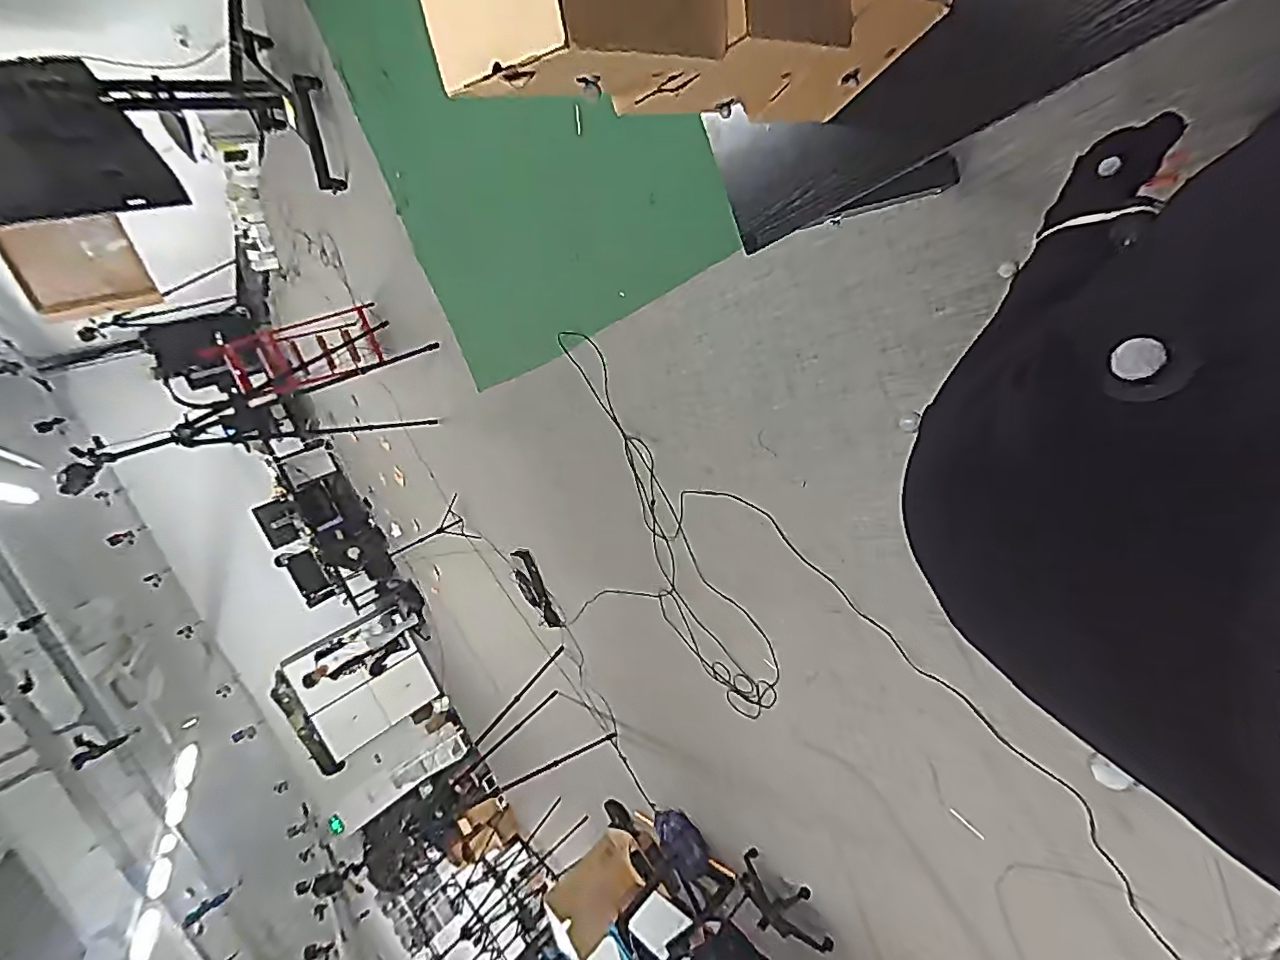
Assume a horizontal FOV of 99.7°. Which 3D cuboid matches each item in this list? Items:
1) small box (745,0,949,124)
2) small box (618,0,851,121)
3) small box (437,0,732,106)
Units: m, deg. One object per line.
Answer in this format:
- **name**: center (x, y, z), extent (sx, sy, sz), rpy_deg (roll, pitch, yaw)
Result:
- **small box**: center (0.196, -0.525, 0.588), extent (0.168, 0.176, 0.179), rpy_deg (-22, 97, 54)
- **small box**: center (0.077, -0.459, 0.496), extent (0.168, 0.176, 0.179), rpy_deg (10, 121, 47)
- **small box**: center (-0.044, -0.399, 0.402), extent (0.168, 0.176, 0.179), rpy_deg (22, 131, 40)
